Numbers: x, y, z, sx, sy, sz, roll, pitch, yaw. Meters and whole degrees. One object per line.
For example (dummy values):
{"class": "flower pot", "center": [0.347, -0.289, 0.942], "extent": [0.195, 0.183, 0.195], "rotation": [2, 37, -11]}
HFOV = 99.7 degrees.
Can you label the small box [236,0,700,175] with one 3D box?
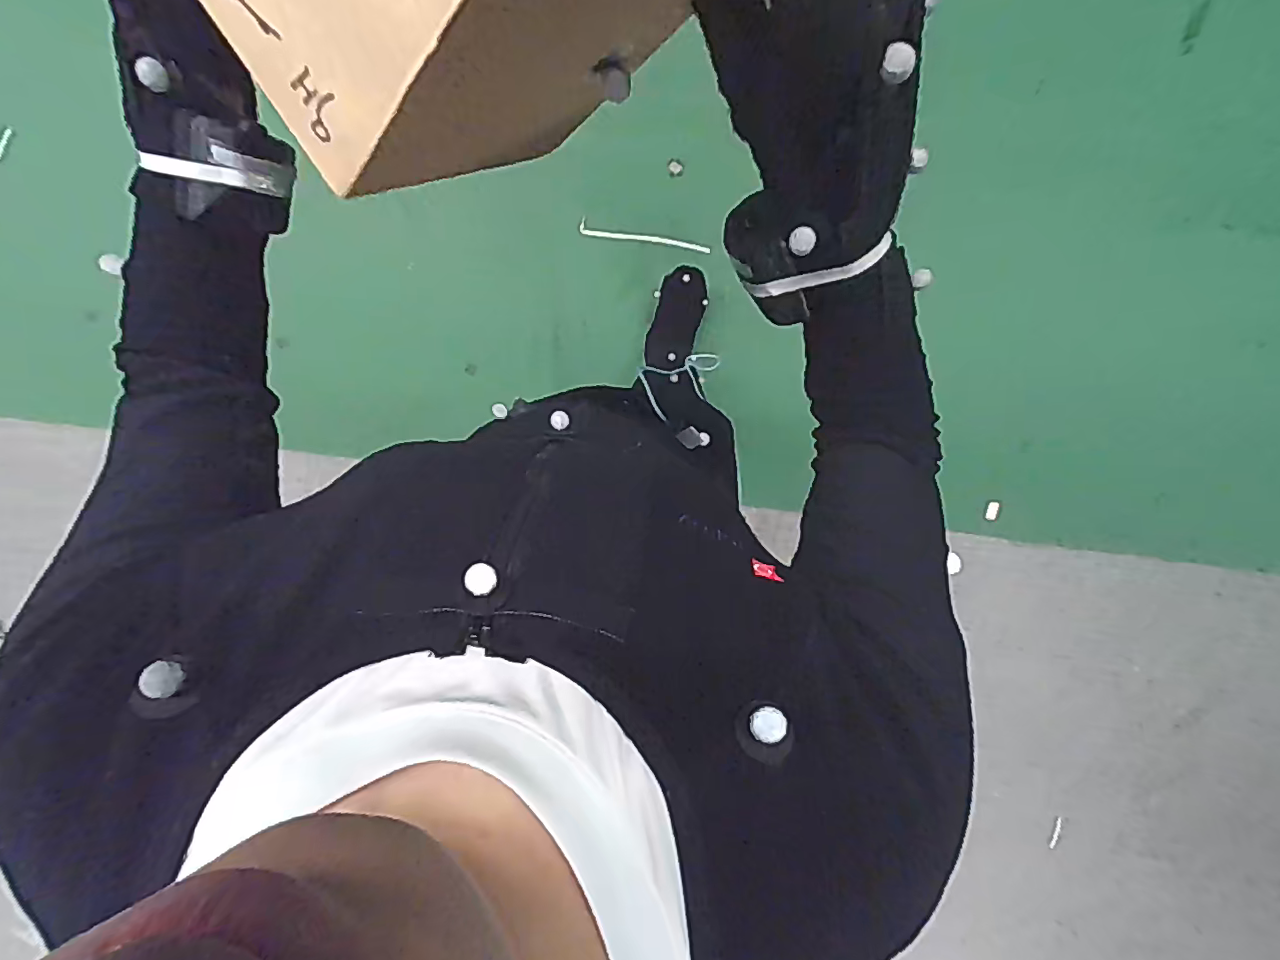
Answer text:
{"class": "small box", "center": [-0.074, -0.271, 0.235], "extent": [0.179, 0.176, 0.168], "rotation": [-17, 112, 39]}
